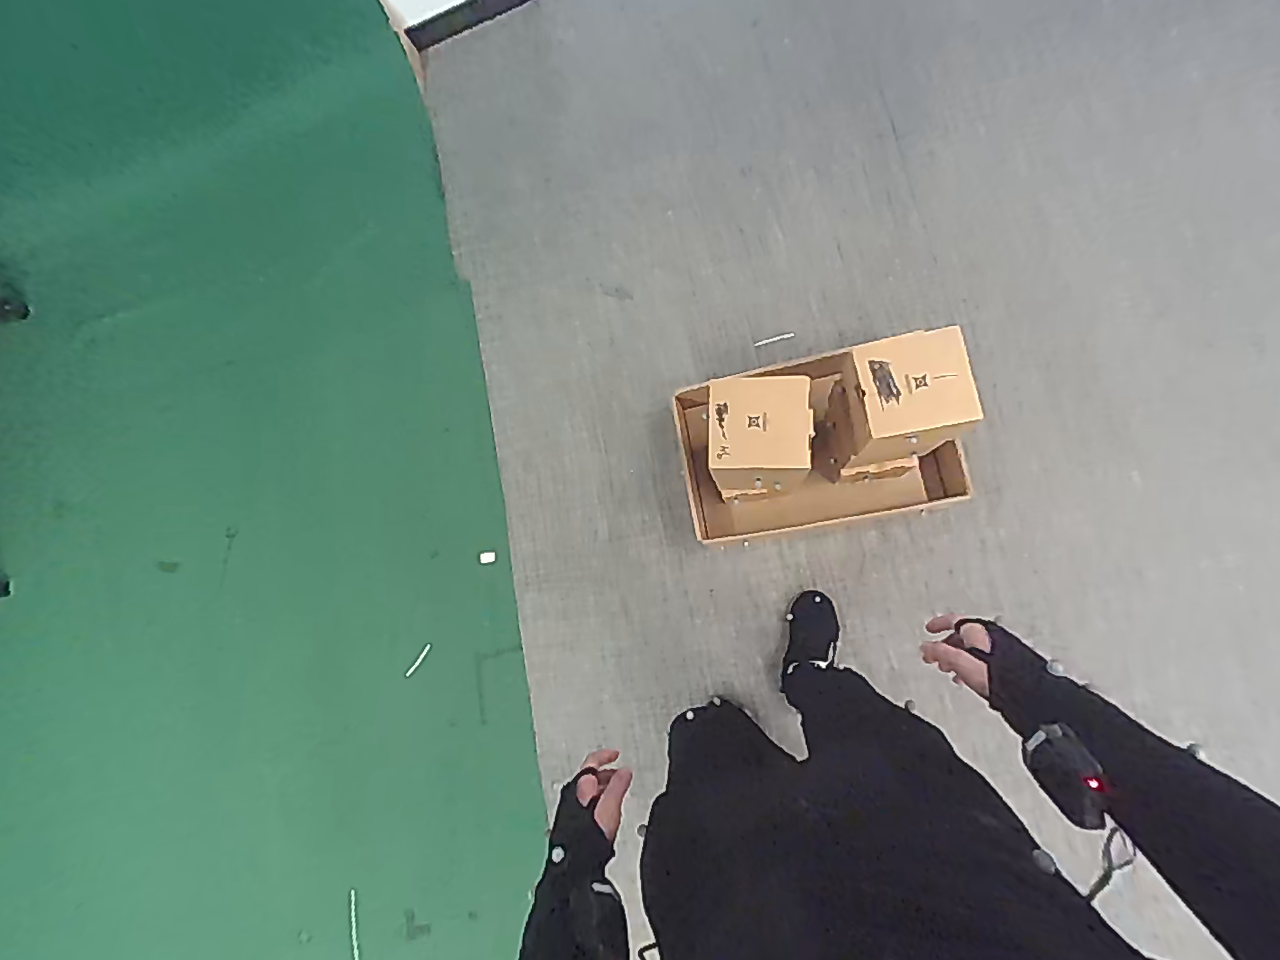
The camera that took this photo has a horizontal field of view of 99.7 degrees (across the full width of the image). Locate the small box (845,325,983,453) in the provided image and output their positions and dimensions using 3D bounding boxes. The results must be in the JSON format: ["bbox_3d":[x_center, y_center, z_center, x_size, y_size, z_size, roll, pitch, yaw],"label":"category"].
[{"bbox_3d":[0.477,-0.153,0.974,0.179,0.176,0.168,-10,81,12],"label":"small box"}]

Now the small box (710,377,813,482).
[{"bbox_3d":[0.226,-0.090,1.022,0.179,0.176,0.168,1,82,11],"label":"small box"}]
